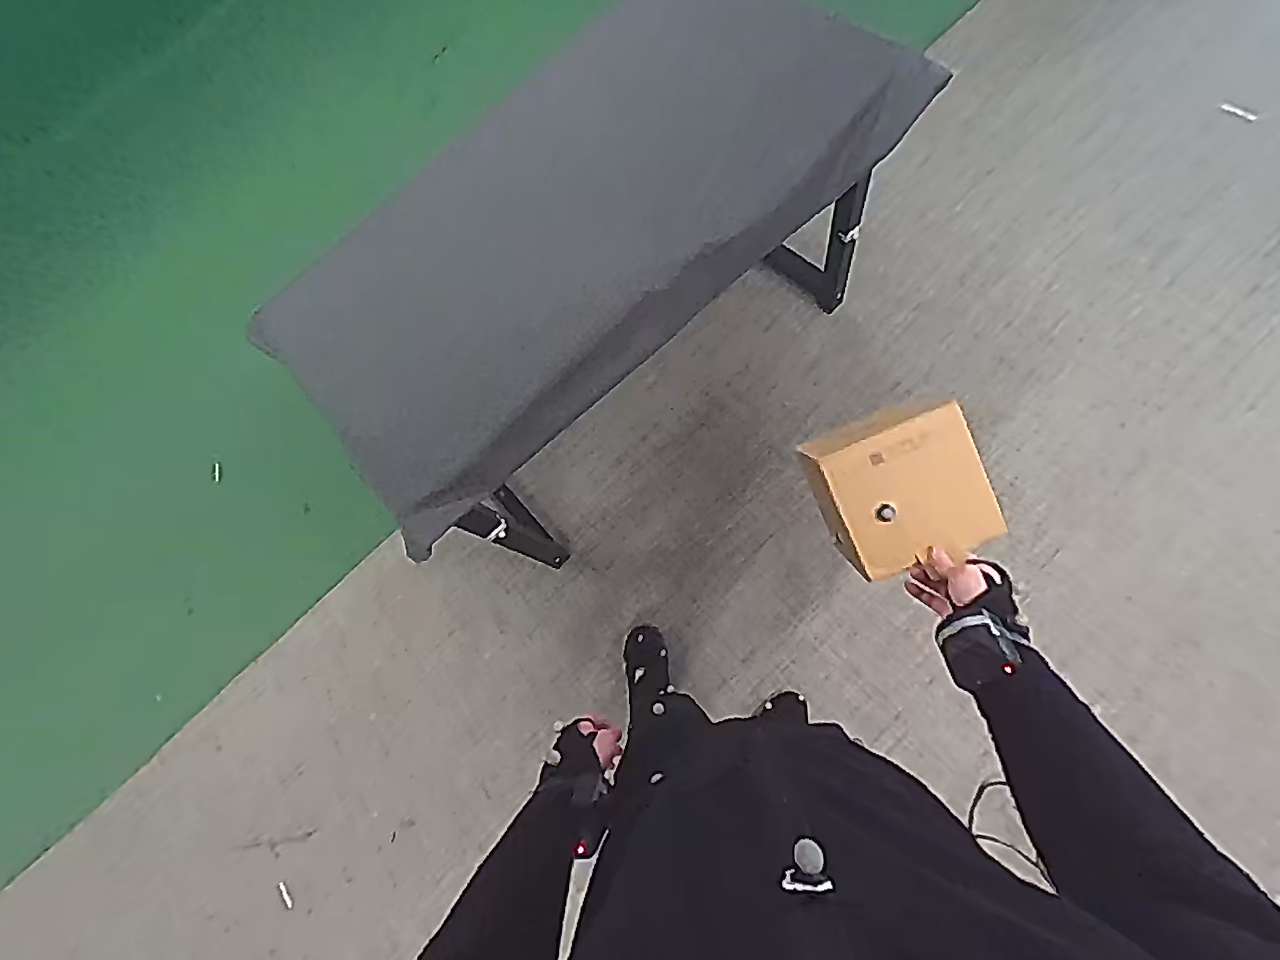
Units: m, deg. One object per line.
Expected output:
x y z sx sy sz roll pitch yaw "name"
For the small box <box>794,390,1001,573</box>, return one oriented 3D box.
0.318 -0.009 0.705 0.168 0.179 0.176 -23 98 10 "small box"
